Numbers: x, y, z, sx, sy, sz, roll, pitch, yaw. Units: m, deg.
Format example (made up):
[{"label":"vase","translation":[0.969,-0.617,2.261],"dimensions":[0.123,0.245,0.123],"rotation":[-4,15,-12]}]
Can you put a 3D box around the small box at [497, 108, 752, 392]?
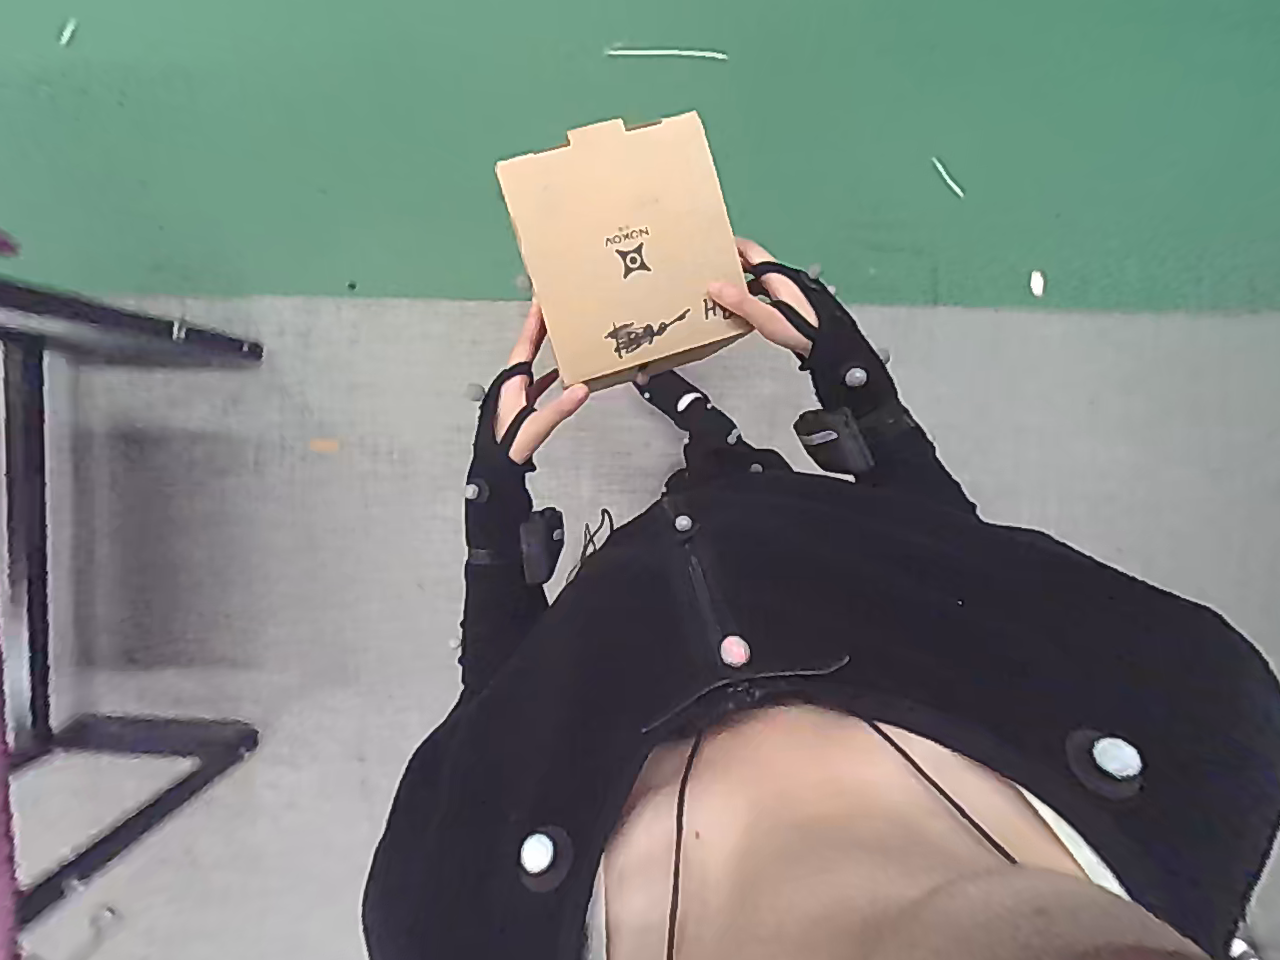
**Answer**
[{"label":"small box","translation":[-0.019,-0.193,0.505],"dimensions":[0.168,0.176,0.179],"rotation":[-18,97,-4]}]
